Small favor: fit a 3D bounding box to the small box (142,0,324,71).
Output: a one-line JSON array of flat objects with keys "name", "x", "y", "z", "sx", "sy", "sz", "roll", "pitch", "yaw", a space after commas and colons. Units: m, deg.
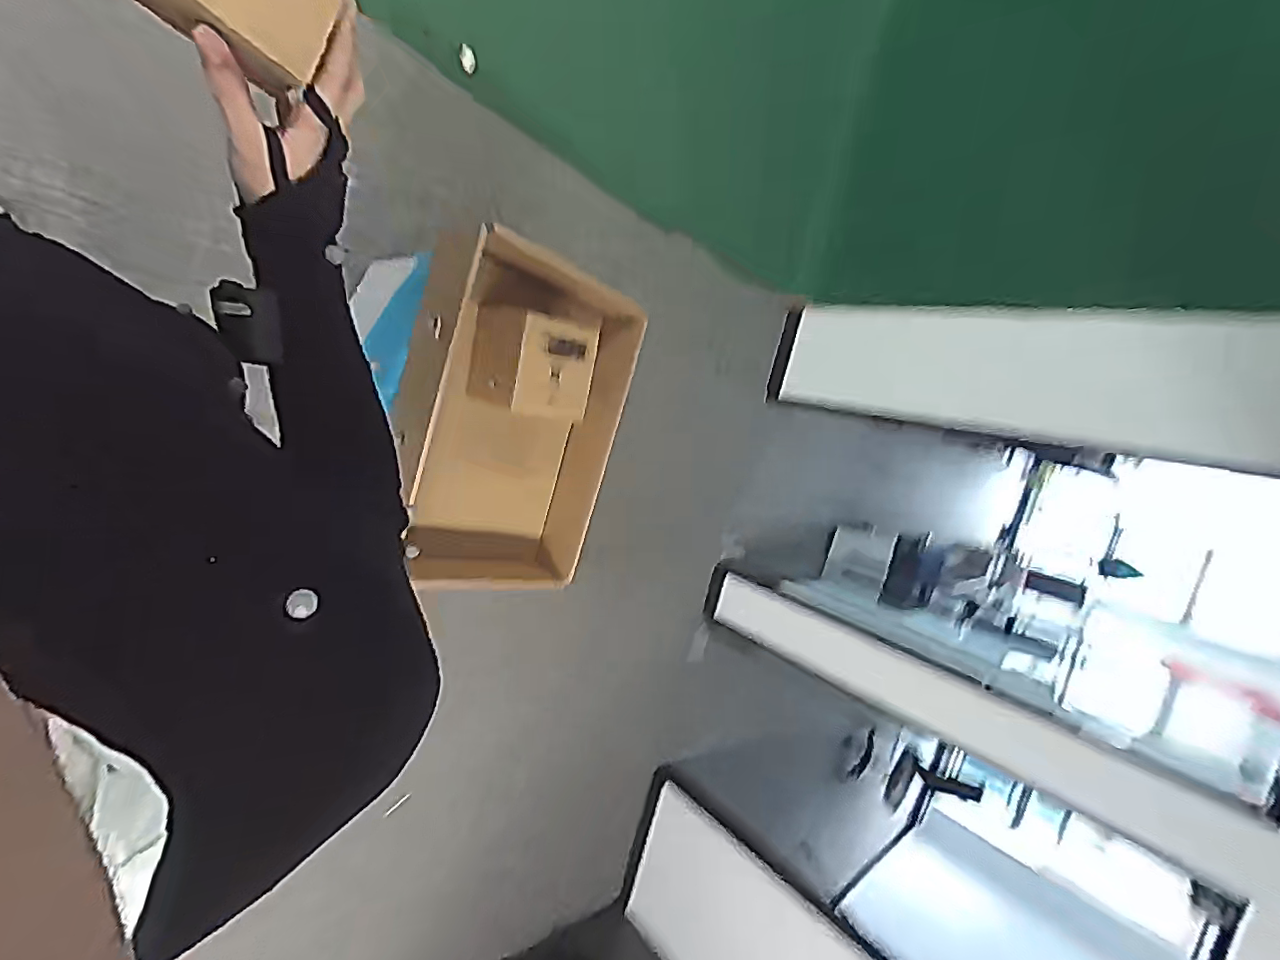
[{"name": "small box", "x": -0.296, "y": -0.404, "z": 0.347, "sx": 0.179, "sy": 0.176, "sz": 0.168, "roll": 23, "pitch": 99, "yaw": -47}]
